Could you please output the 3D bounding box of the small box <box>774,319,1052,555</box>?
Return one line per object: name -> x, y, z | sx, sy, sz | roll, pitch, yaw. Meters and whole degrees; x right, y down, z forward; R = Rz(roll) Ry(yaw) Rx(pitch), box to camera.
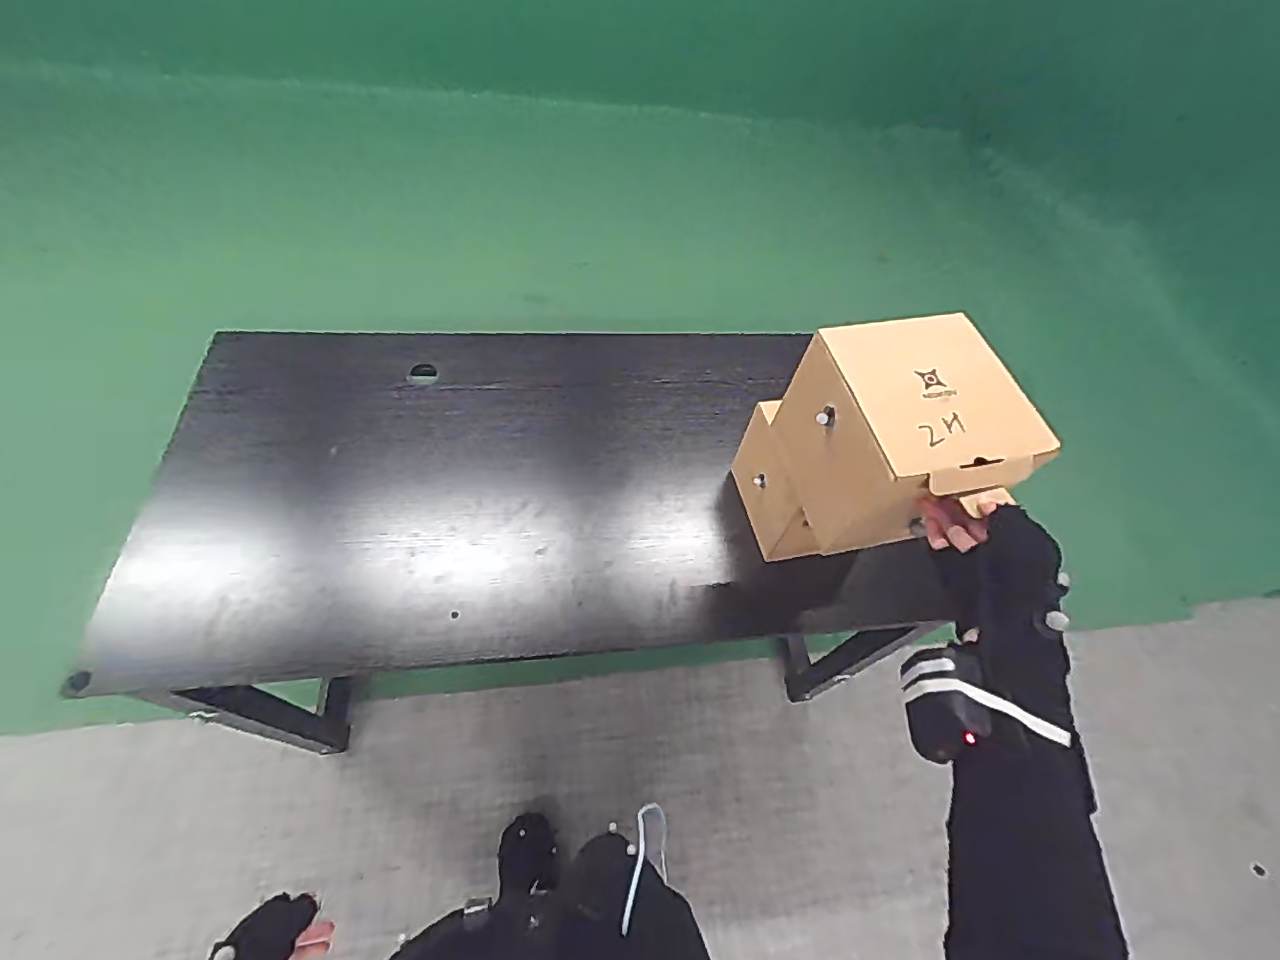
small box -> 0.263, -0.042, 0.573 | 0.168, 0.176, 0.179 | -9, 61, -10
